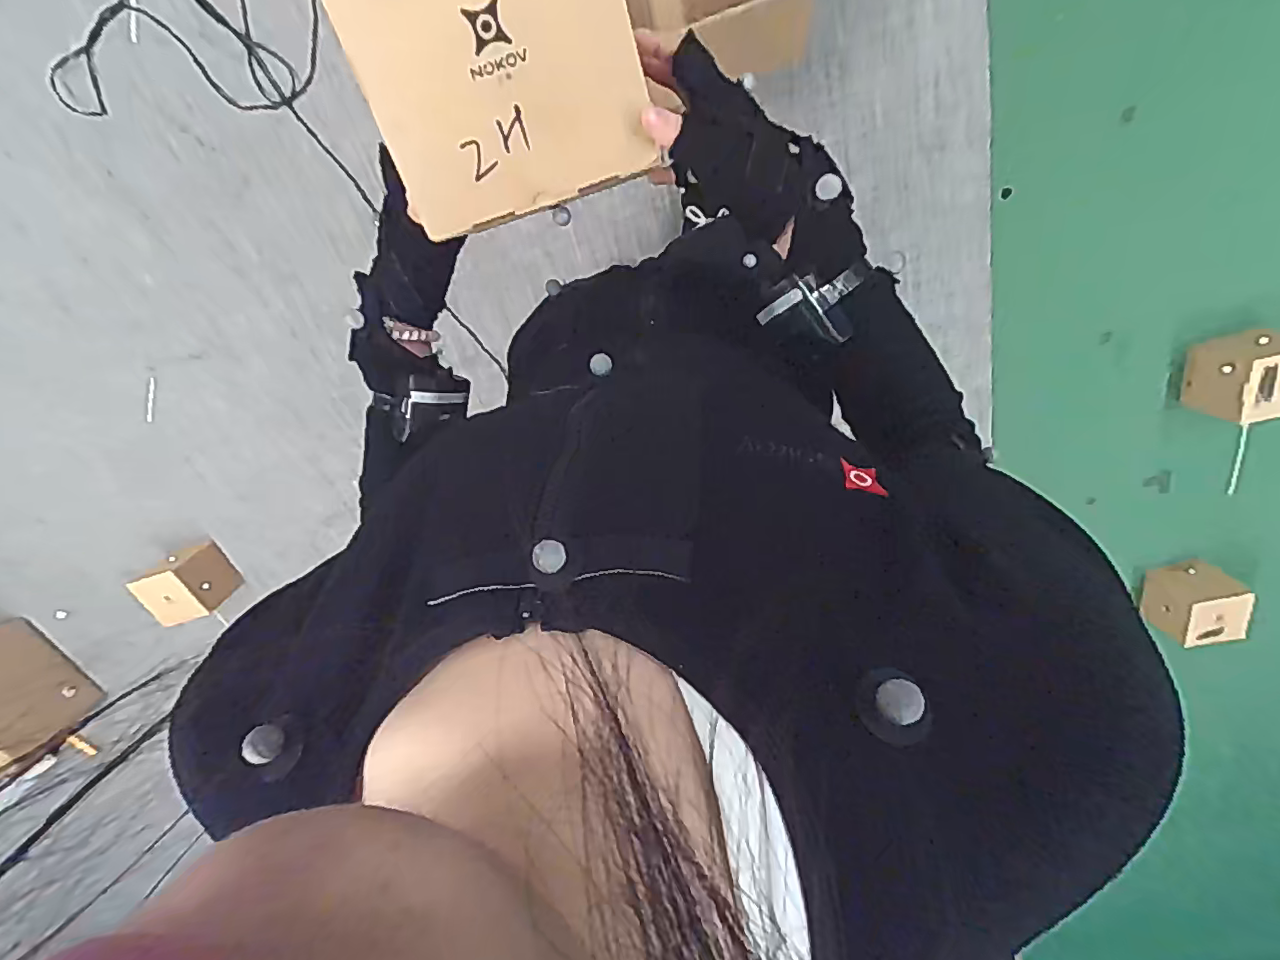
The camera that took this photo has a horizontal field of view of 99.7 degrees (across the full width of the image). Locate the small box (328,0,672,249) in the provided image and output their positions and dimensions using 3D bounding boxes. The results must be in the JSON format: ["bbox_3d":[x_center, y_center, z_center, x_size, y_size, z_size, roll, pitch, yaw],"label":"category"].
[{"bbox_3d":[-0.086,-0.281,0.382,0.168,0.176,0.179,-16,118,5],"label":"small box"}]

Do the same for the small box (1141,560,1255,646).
[{"bbox_3d":[1.688,0.372,1.650,0.168,0.176,0.179,-14,116,8],"label":"small box"}]

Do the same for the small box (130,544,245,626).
[{"bbox_3d":[-1.393,0.317,1.678,0.168,0.176,0.179,-17,117,9],"label":"small box"}]
